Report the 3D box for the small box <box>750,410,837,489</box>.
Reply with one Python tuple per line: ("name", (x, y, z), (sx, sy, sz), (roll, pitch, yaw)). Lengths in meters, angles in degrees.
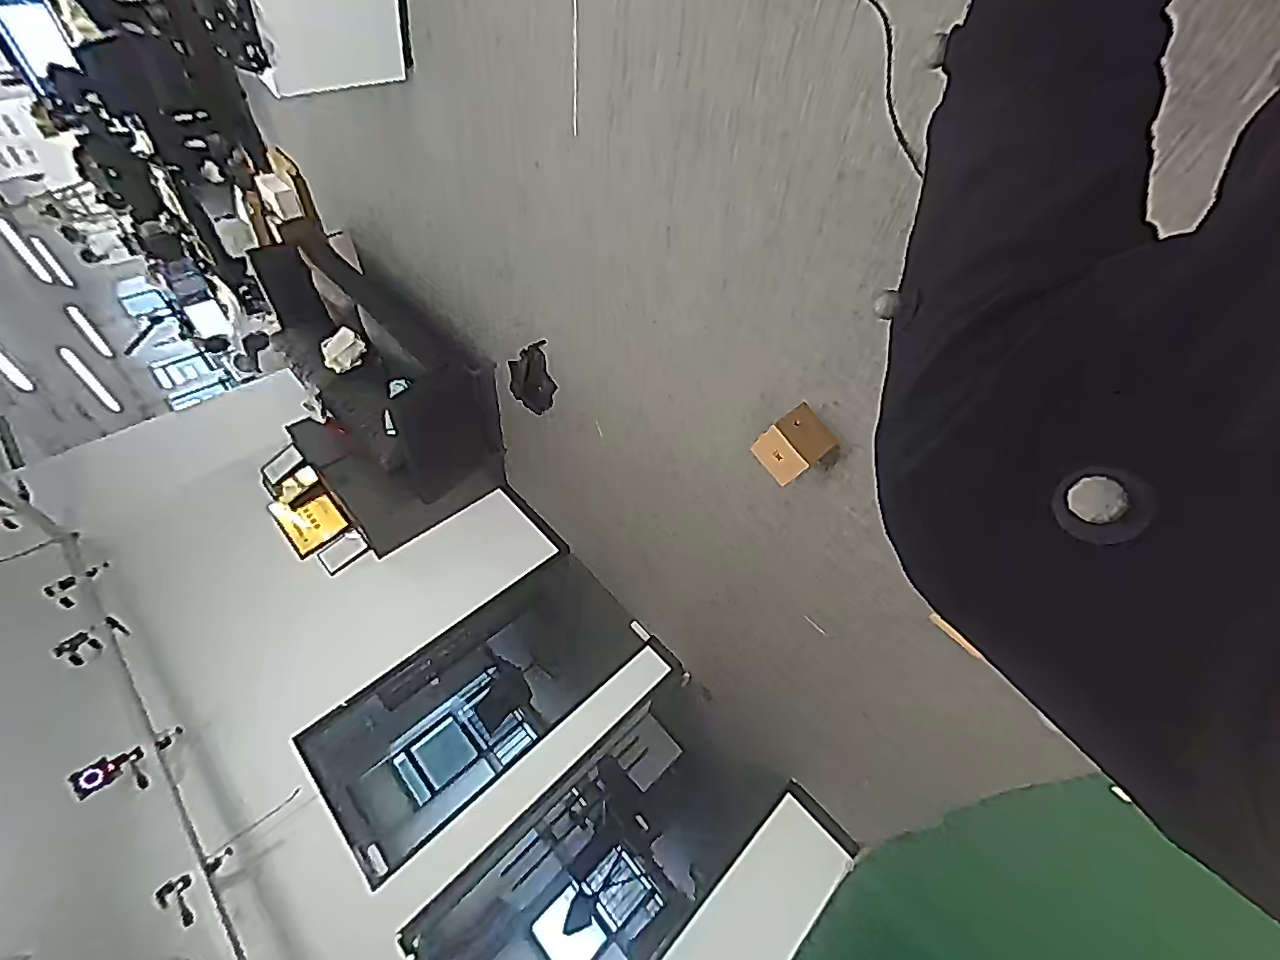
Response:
("small box", (0.505, -0.107, 1.776), (0.179, 0.176, 0.168), (50, 151, 9))
